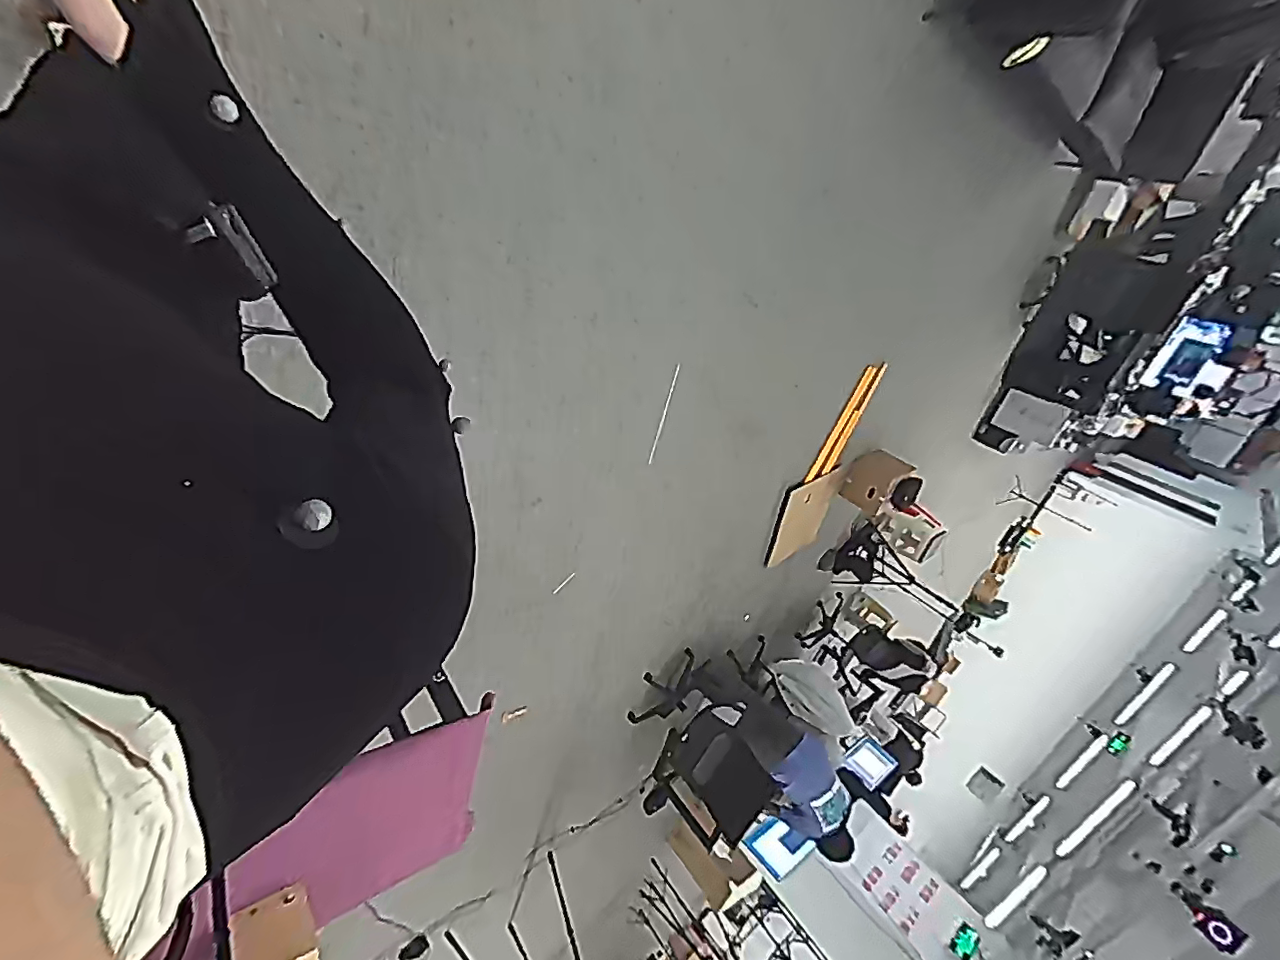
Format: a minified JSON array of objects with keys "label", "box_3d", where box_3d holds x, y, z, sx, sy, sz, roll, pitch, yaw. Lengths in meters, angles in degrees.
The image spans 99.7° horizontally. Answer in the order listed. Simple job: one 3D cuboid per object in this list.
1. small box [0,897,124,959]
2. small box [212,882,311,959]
[{"label":"small box","box_3d":[-1.035,0.896,0.954,0.168,0.176,0.179,-9,126,-41]},{"label":"small box","box_3d":[-0.885,1.096,1.265,0.168,0.176,0.179,-8,126,-41]}]
